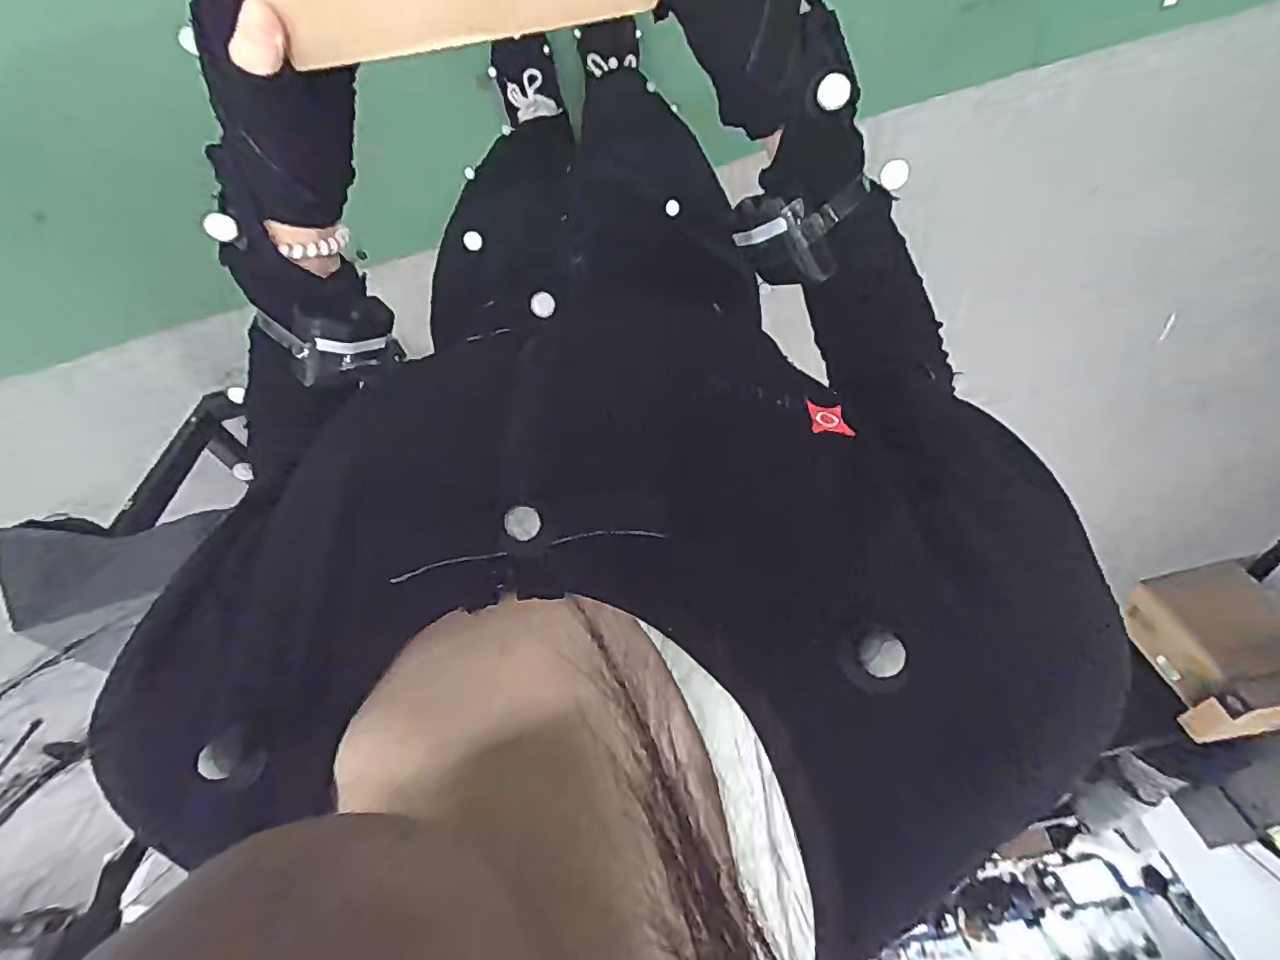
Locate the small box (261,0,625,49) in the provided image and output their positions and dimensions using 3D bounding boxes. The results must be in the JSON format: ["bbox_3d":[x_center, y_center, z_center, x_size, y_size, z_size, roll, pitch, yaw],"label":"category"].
[{"bbox_3d":[-0.093,-0.319,0.216,0.179,0.176,0.168,-8,153,2],"label":"small box"}]
